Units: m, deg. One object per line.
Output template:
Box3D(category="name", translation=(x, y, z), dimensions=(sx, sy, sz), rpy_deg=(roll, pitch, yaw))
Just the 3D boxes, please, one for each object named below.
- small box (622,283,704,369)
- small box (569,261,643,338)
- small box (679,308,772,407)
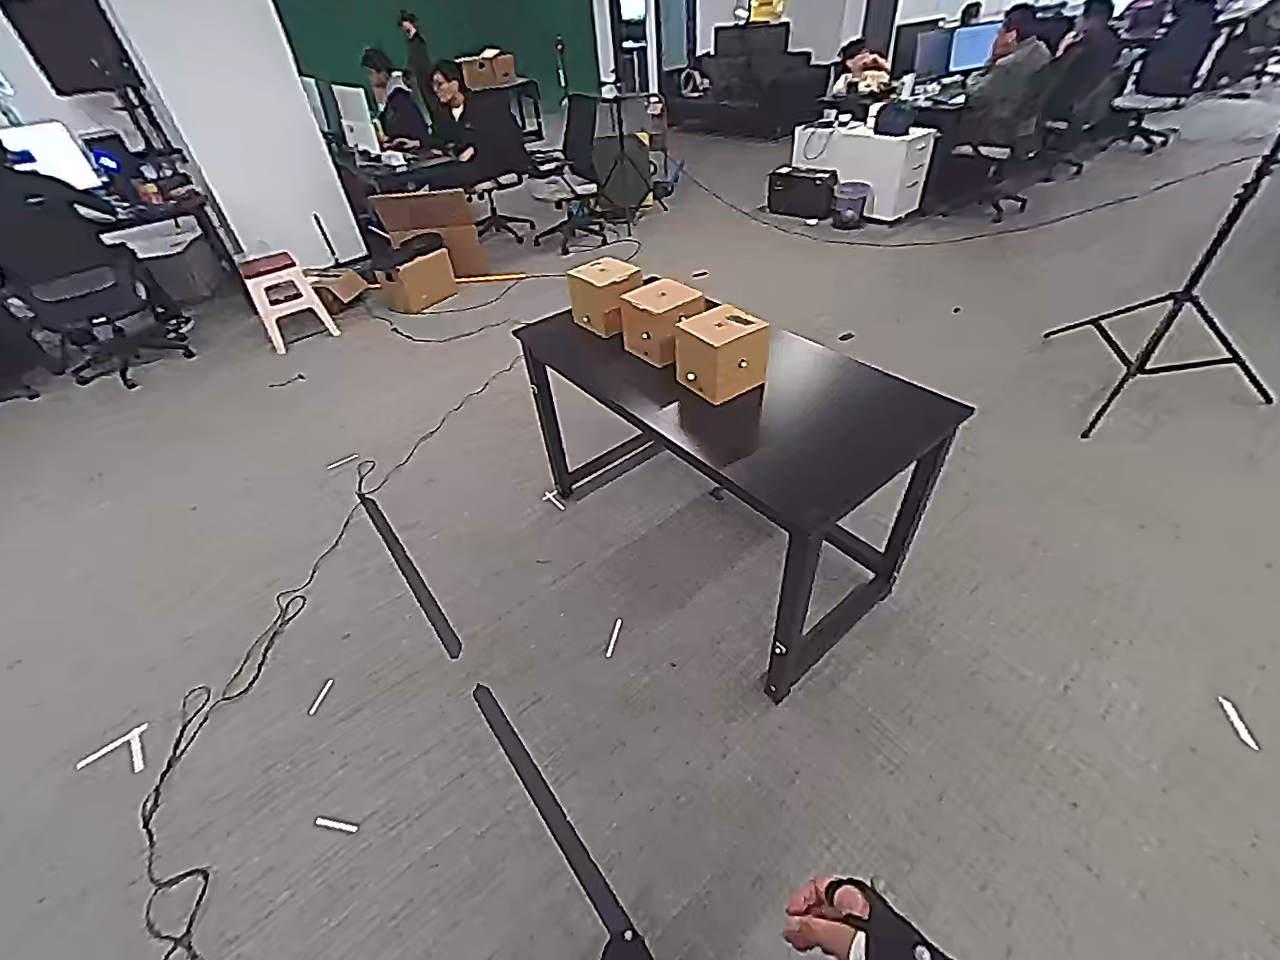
Box3D(category="small box", translation=(0.070, -0.443, 1.560), dimensions=(0.179, 0.176, 0.168), rpy_deg=(-30, 48, -27))
Box3D(category="small box", translation=(-0.101, -0.569, 1.714), dimensions=(0.168, 0.176, 0.179), rpy_deg=(-31, 49, -27))
Box3D(category="small box", translation=(0.214, -0.317, 1.400), dimensions=(0.179, 0.176, 0.168), rpy_deg=(-27, 46, -23))
